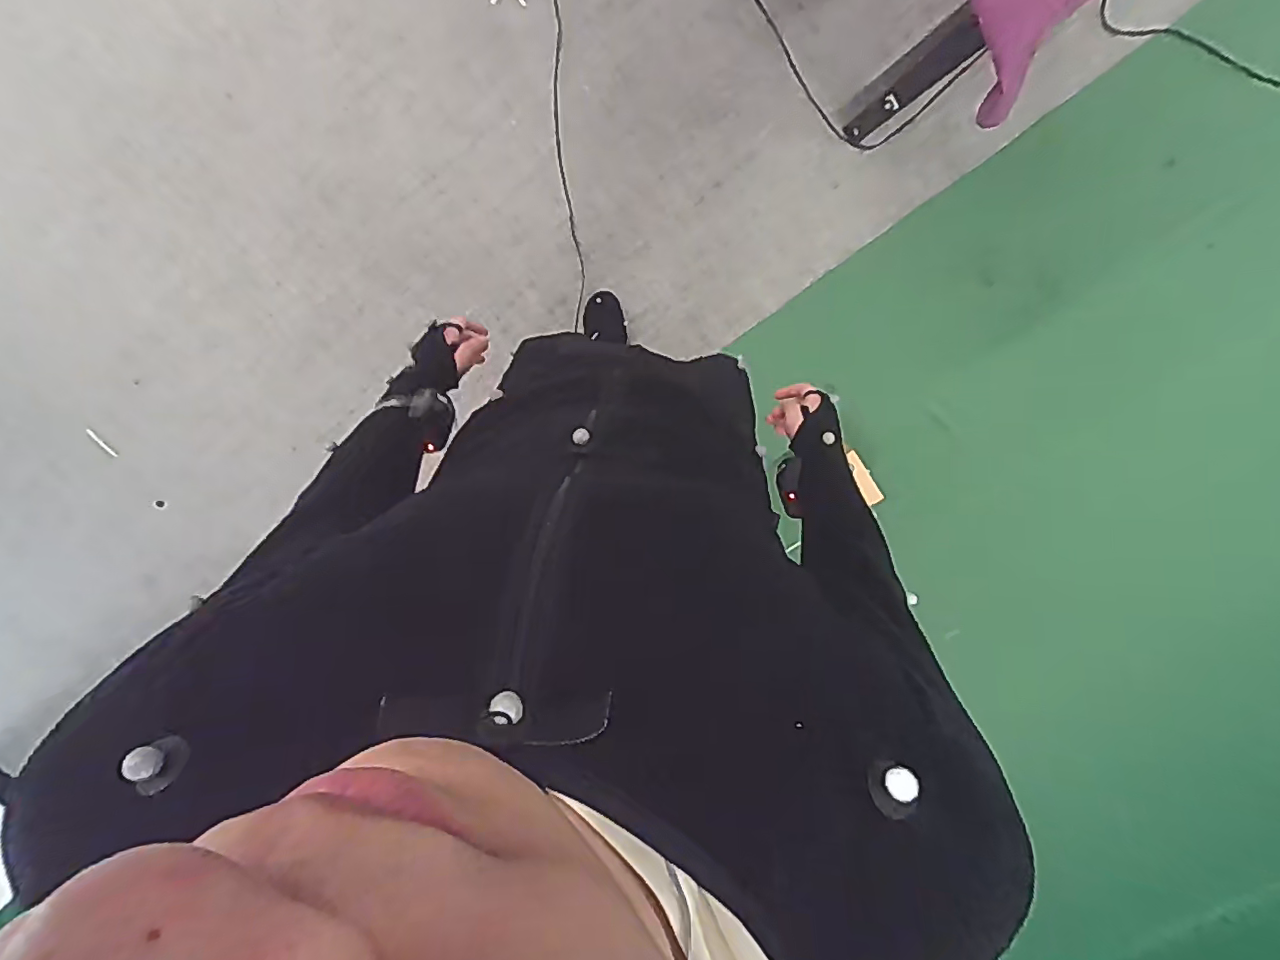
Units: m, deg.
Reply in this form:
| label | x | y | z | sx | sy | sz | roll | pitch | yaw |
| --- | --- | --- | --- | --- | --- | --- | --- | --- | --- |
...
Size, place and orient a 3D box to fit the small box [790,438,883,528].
| label | x | y | z | sx | sy | sz | roll | pitch | yaw |
| --- | --- | --- | --- | --- | --- | --- | --- | --- | --- |
| small box | 0.564 | 0.002 | 1.569 | 0.168 | 0.176 | 0.179 | -35 | 105 | 11 |
